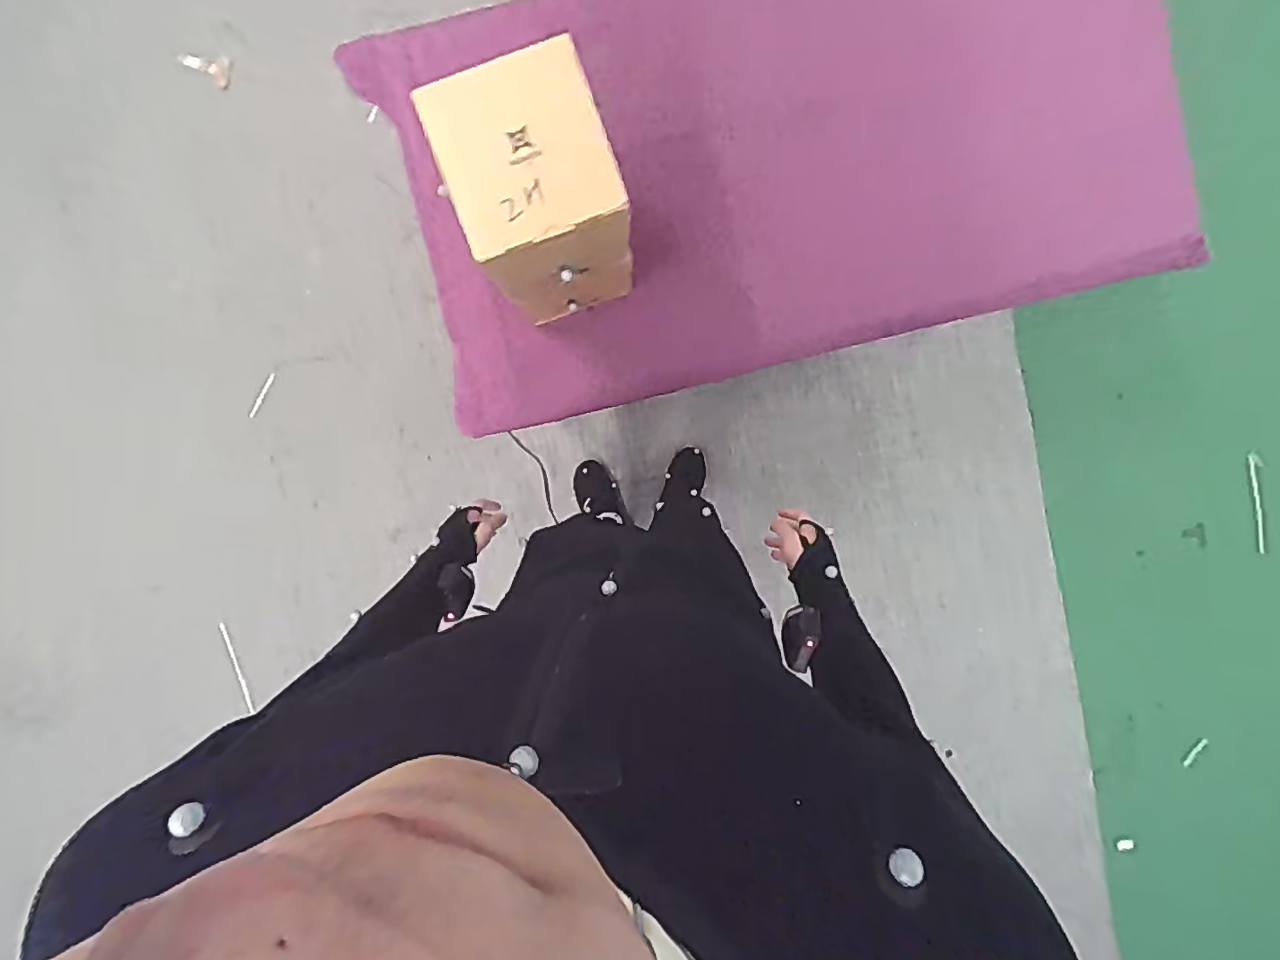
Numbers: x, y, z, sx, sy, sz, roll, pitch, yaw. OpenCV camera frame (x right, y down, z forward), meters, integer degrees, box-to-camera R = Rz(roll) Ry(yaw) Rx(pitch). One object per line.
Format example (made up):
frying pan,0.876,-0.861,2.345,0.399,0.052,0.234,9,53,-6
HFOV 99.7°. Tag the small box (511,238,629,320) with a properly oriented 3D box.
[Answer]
small box,-0.122,-0.350,0.771,0.168,0.176,0.179,-20,96,0

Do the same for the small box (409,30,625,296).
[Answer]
small box,-0.123,-0.334,0.607,0.168,0.176,0.179,-21,95,0
